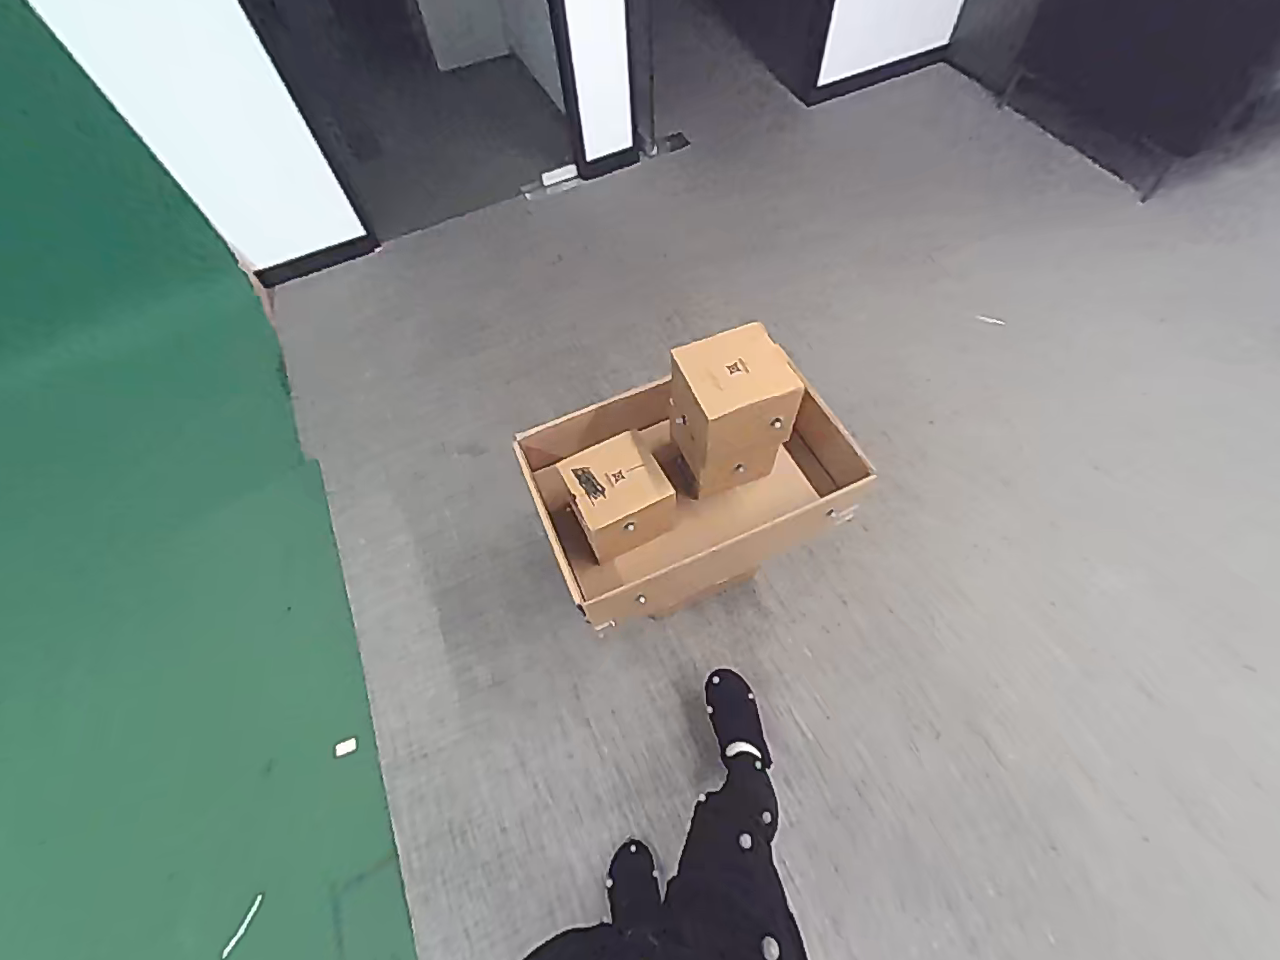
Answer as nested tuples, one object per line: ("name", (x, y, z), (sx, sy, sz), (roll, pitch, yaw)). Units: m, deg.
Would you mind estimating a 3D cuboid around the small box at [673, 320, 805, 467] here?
("small box", (0.168, -0.151, 0.976), (0.179, 0.176, 0.168), (-20, 62, -5))
